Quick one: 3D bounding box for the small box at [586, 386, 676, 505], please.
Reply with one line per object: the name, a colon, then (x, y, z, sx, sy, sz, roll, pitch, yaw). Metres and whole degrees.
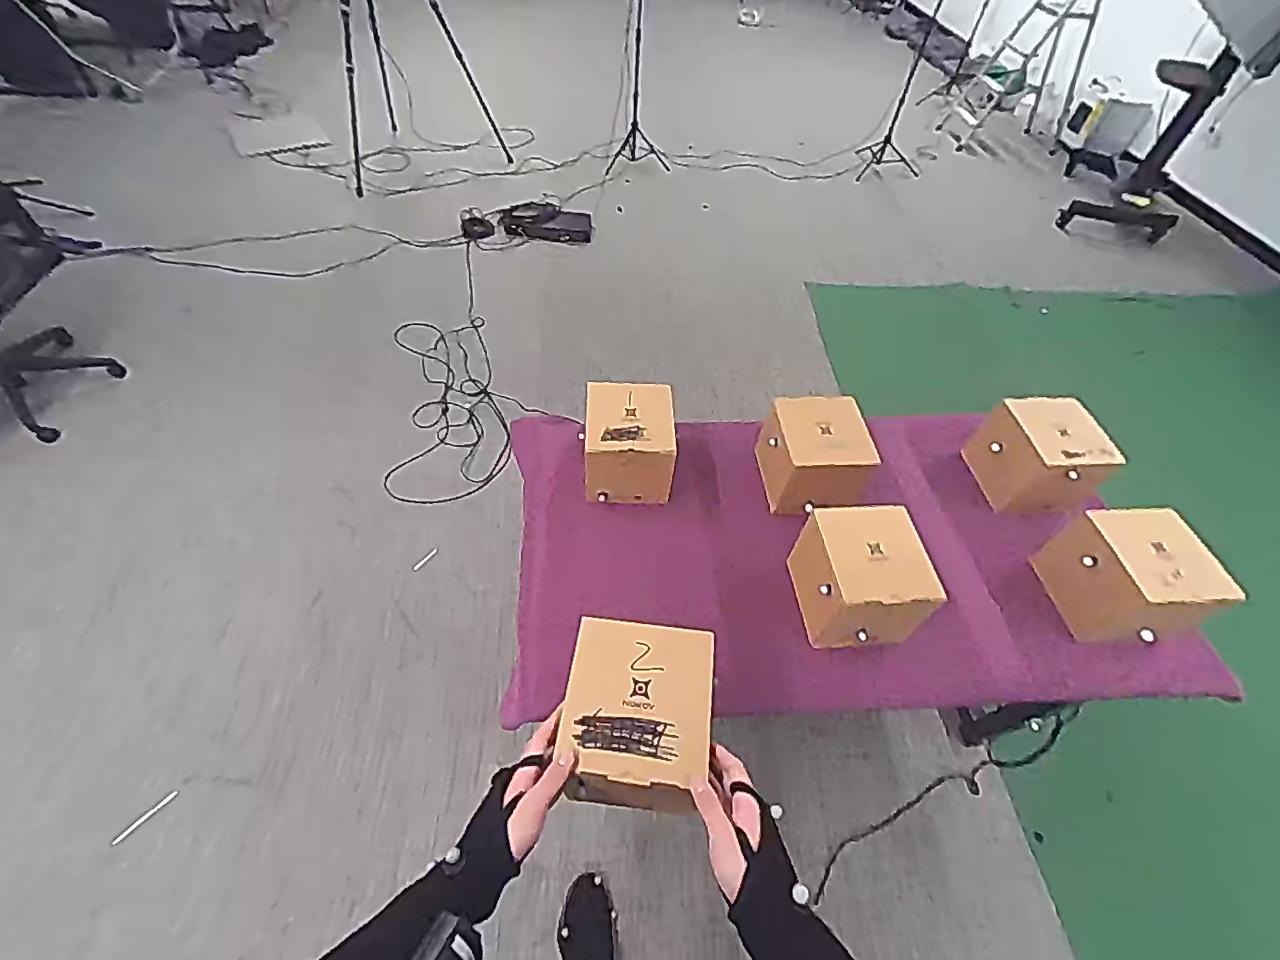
small box: (-0.020, -0.065, 1.074, 0.168, 0.176, 0.179, 1, 53, -4)

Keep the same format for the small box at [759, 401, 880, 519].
small box: (0.346, -0.039, 1.086, 0.168, 0.176, 0.179, -1, 53, -4)

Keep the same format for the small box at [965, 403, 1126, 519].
small box: (0.818, -0.038, 1.116, 0.168, 0.176, 0.179, -2, 52, -5)

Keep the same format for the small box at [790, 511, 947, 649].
small box: (0.372, 0.171, 0.922, 0.168, 0.176, 0.179, -1, 52, -6)

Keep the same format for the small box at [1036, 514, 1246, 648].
small box: (0.850, 0.177, 0.944, 0.168, 0.176, 0.179, -1, 51, -3)
